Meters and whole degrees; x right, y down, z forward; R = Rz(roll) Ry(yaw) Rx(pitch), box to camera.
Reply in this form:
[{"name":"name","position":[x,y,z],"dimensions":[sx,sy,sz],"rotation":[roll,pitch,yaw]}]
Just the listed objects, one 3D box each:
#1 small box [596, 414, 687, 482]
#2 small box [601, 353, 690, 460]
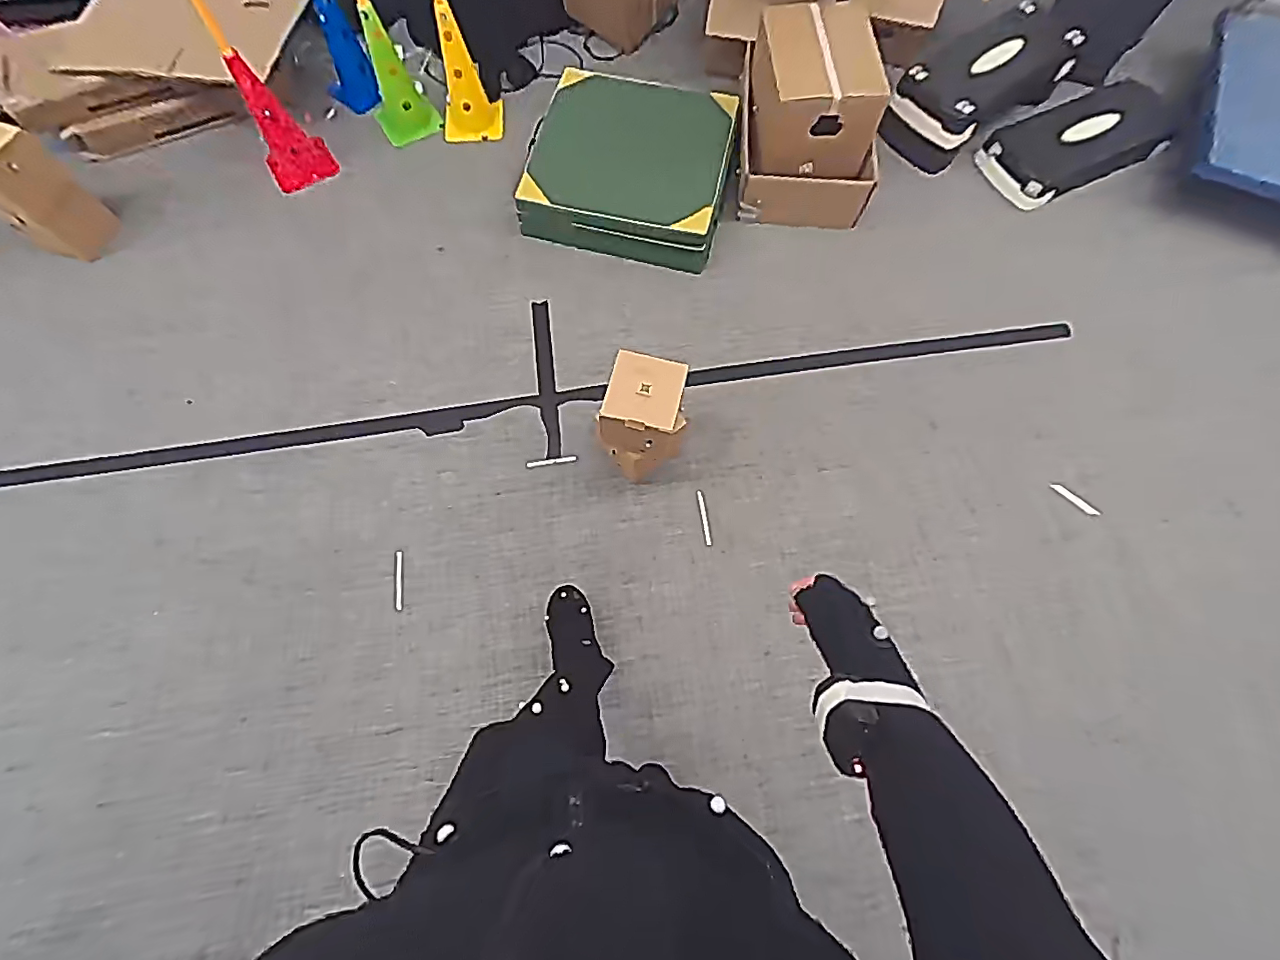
[{"name":"small box","position":[0.005,-0.122,1.437],"dimensions":[0.179,0.176,0.168],"rotation":[-39,75,-14]},{"name":"small box","position":[0.014,-0.166,1.277],"dimensions":[0.168,0.176,0.179],"rotation":[15,70,3]}]
